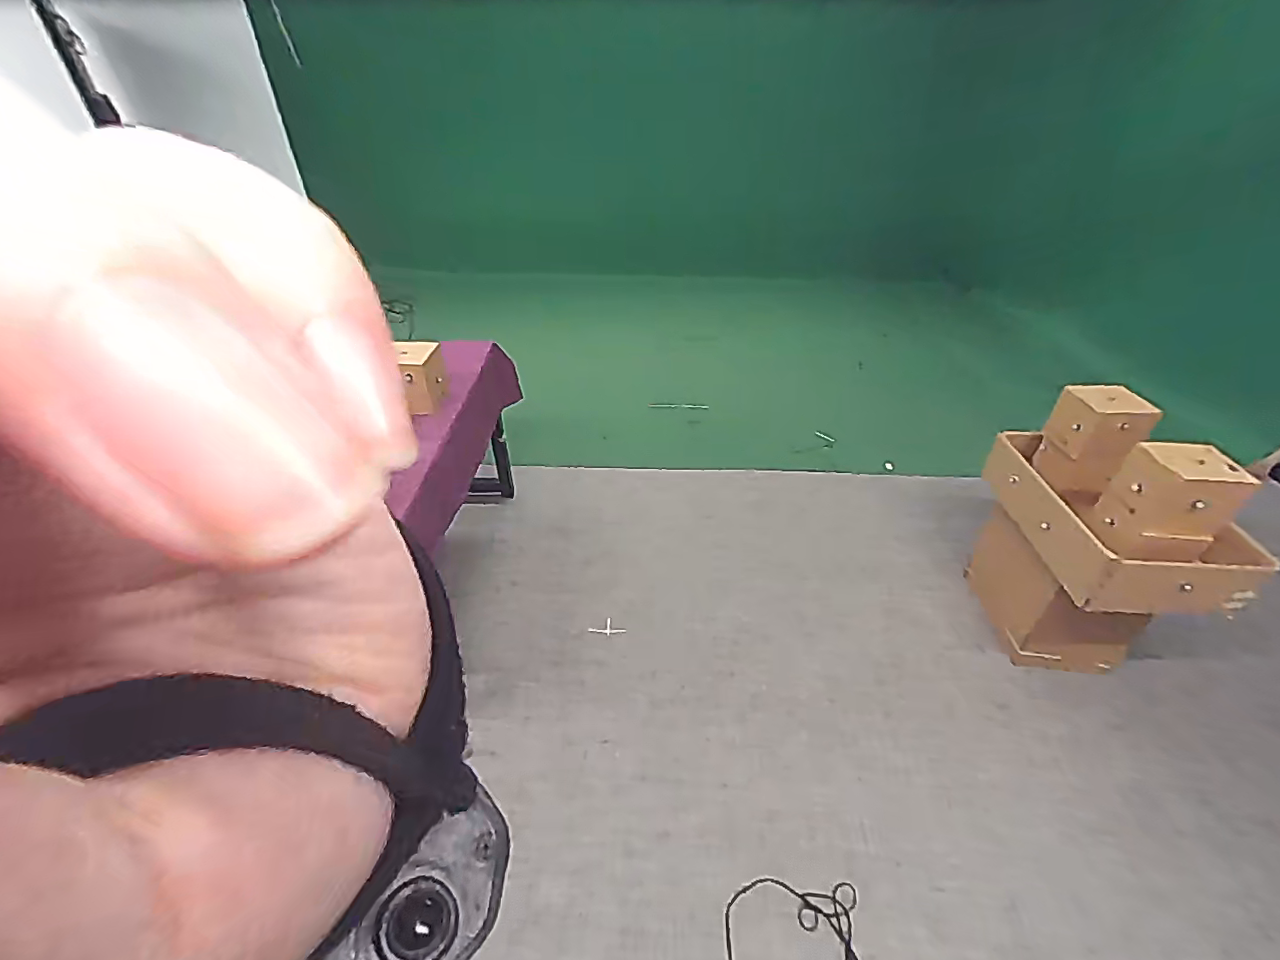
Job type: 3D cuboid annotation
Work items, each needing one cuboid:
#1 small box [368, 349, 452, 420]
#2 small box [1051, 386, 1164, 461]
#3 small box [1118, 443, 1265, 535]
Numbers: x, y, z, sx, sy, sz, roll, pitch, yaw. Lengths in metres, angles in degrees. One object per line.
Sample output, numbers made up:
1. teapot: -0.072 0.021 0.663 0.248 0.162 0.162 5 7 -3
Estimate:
1. small box: -0.703 -0.295 1.681 0.179 0.176 0.168 0 35 1
2. small box: 1.378 -0.167 1.614 0.179 0.176 0.168 0 36 0
3. small box: 1.353 0.022 1.349 0.179 0.176 0.168 3 36 6
